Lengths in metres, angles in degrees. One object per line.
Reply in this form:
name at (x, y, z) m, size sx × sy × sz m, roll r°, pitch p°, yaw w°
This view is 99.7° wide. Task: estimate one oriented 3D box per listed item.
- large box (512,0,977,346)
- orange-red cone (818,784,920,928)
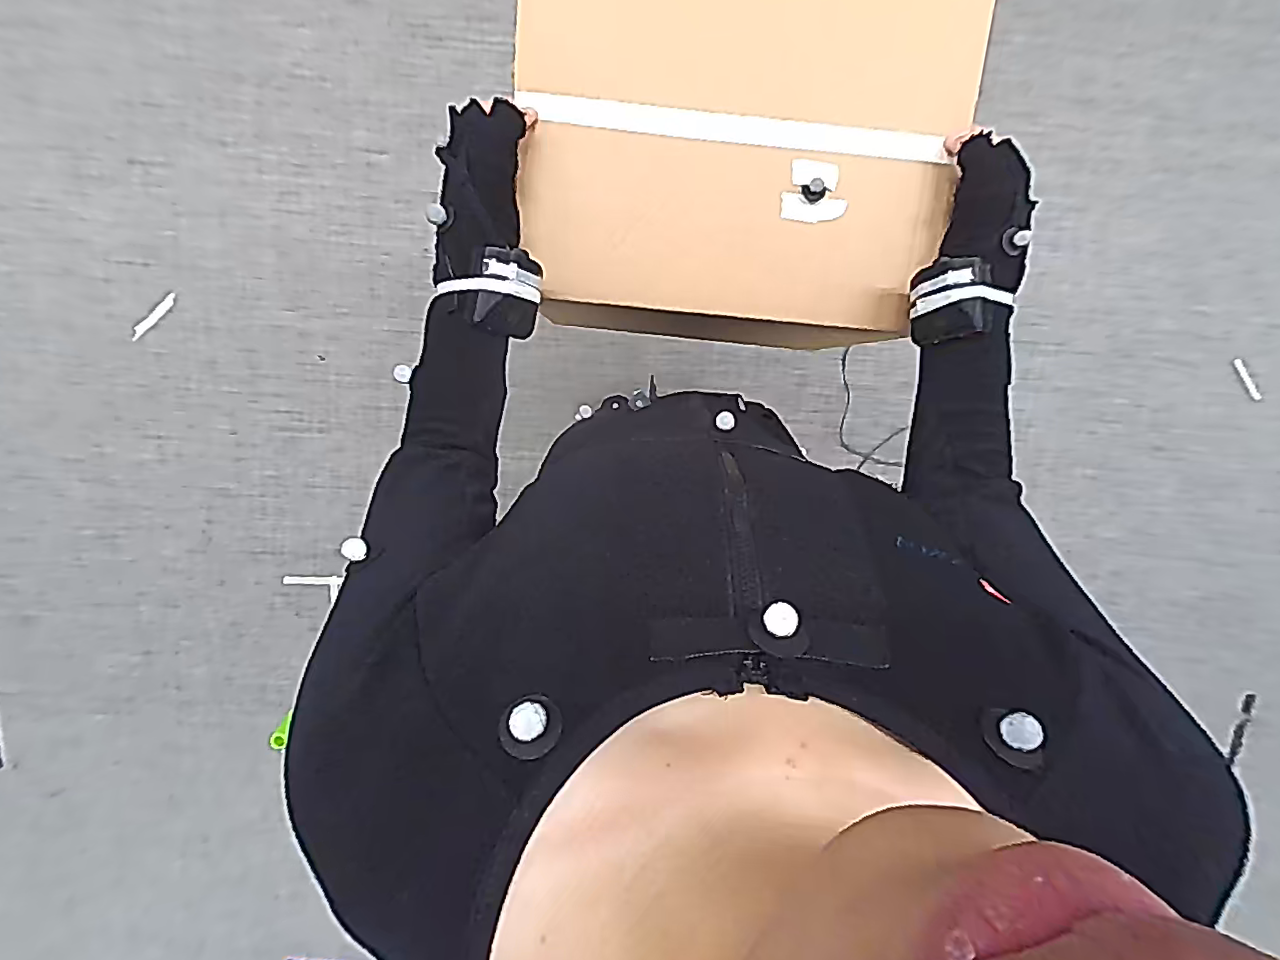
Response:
large box at (0.081, -0.337, 0.629) m, size 0.408 × 0.320 × 0.320 m, roll 4°, pitch 101°, yaw -3°
orange-red cone at (0.650, 1.039, 1.477) m, size 0.198 × 0.360 × 0.199 m, roll 1°, pitch 98°, yaw -2°
